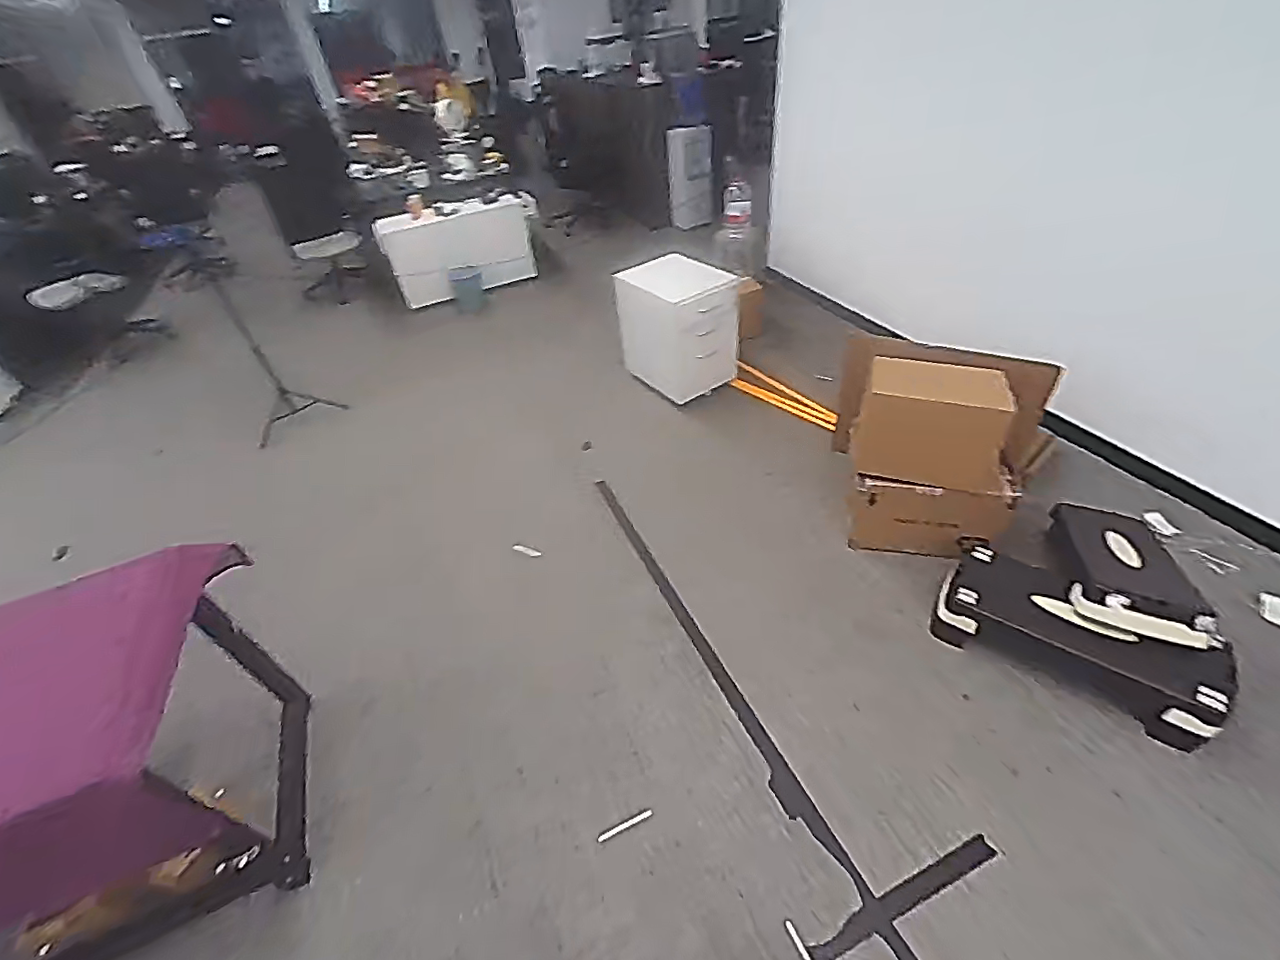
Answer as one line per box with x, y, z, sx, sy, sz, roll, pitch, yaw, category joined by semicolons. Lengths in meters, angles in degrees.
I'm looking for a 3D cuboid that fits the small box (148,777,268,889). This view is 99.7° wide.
-1.158;0.956;1.459;0.179;0.176;0.168;23;51;31;small box
